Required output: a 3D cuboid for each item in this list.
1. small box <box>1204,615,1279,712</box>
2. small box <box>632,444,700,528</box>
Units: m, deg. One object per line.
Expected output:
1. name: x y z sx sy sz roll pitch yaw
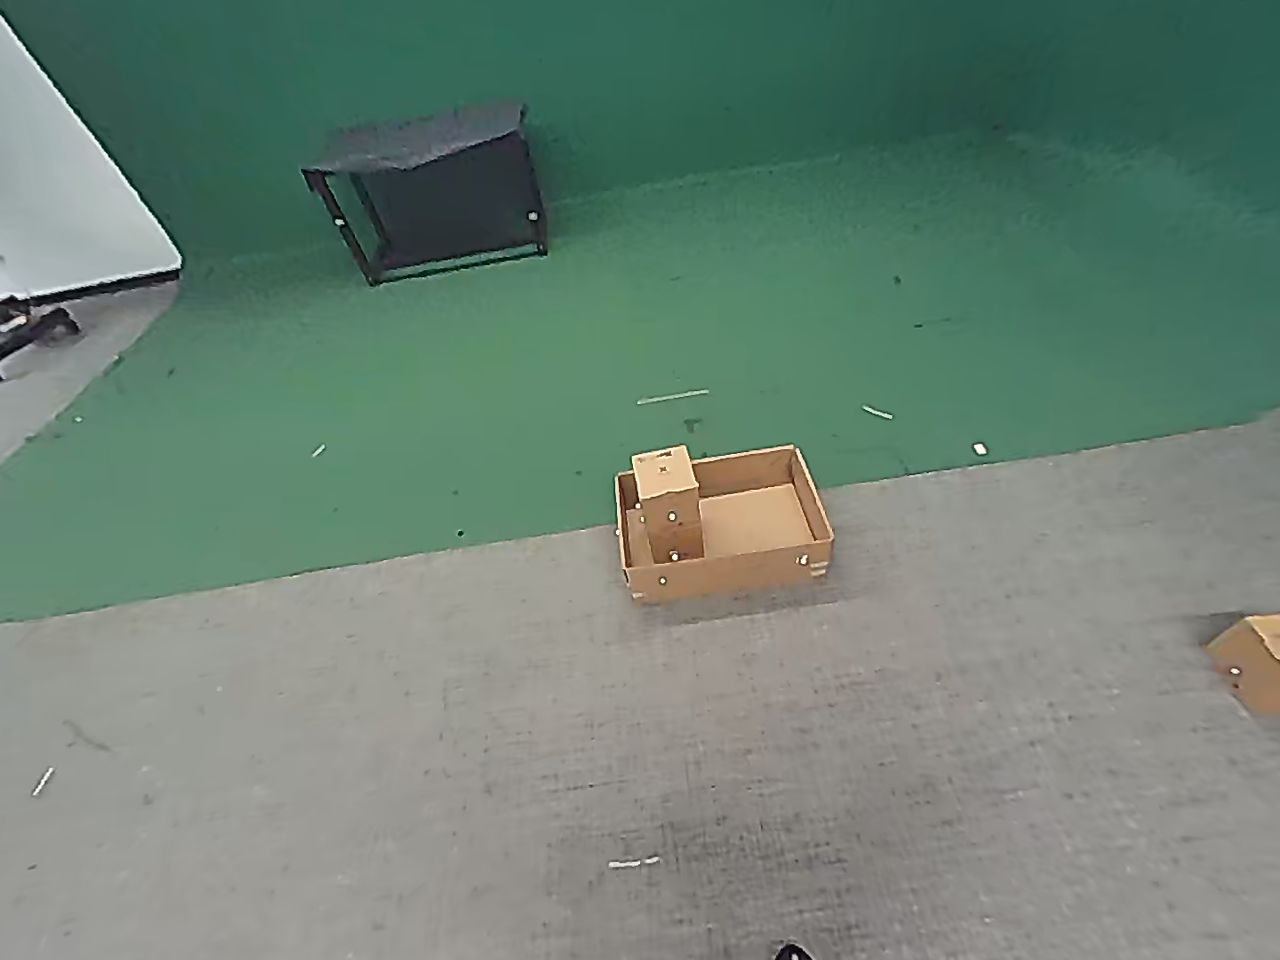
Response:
1. small box: 1.493 0.424 1.249 0.179 0.176 0.168 -5 47 6
2. small box: 0.079 0.025 1.583 0.168 0.176 0.179 -11 48 1
